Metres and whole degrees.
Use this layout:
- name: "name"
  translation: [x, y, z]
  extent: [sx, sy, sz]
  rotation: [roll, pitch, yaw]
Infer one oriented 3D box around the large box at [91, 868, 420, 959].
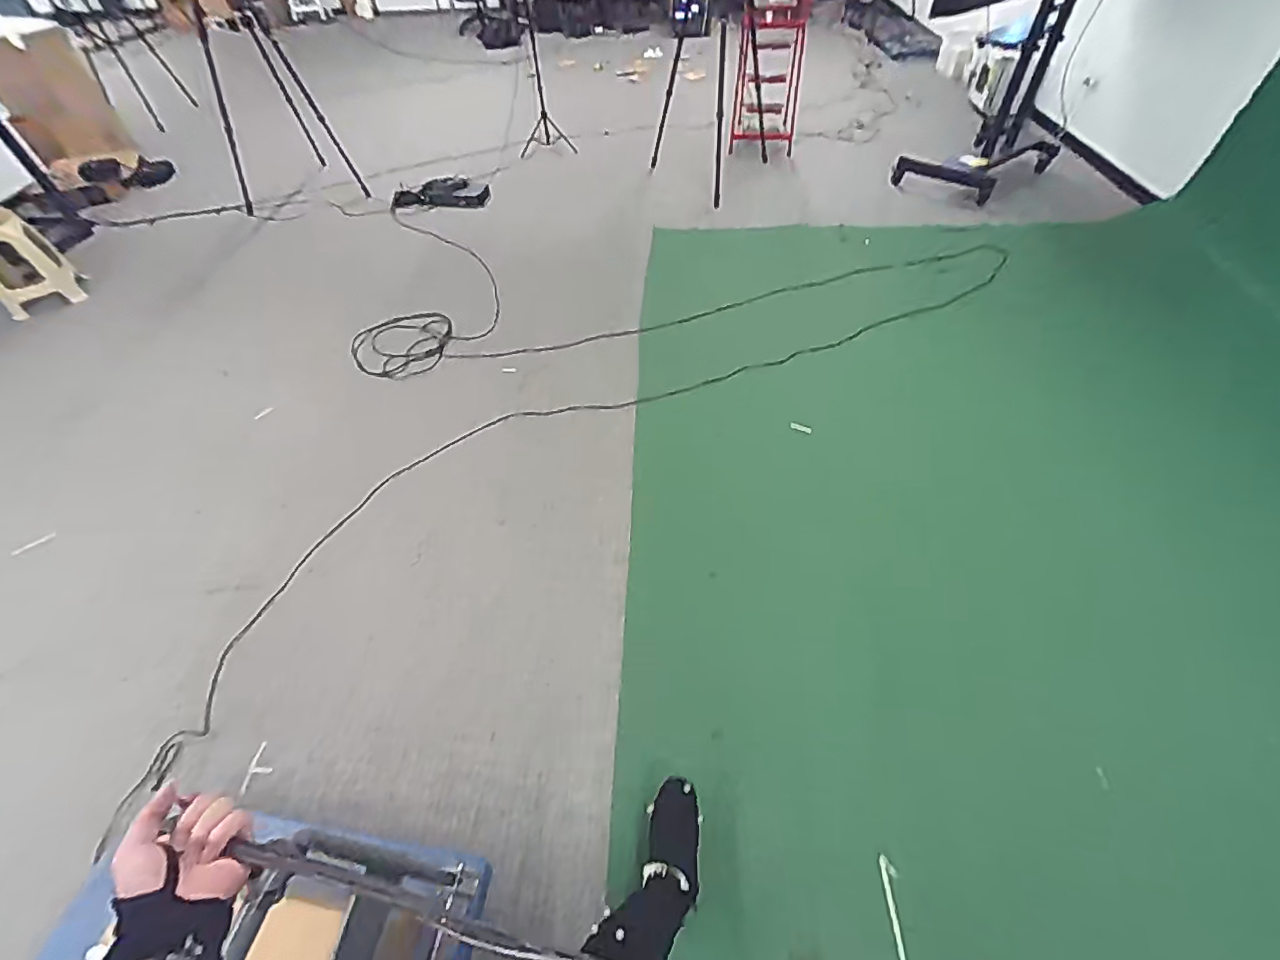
- name: "large box"
  translation: [-0.670, 0.896, 0.927]
  extent: [0.408, 0.320, 0.320]
  rotation: [5, 50, 8]
